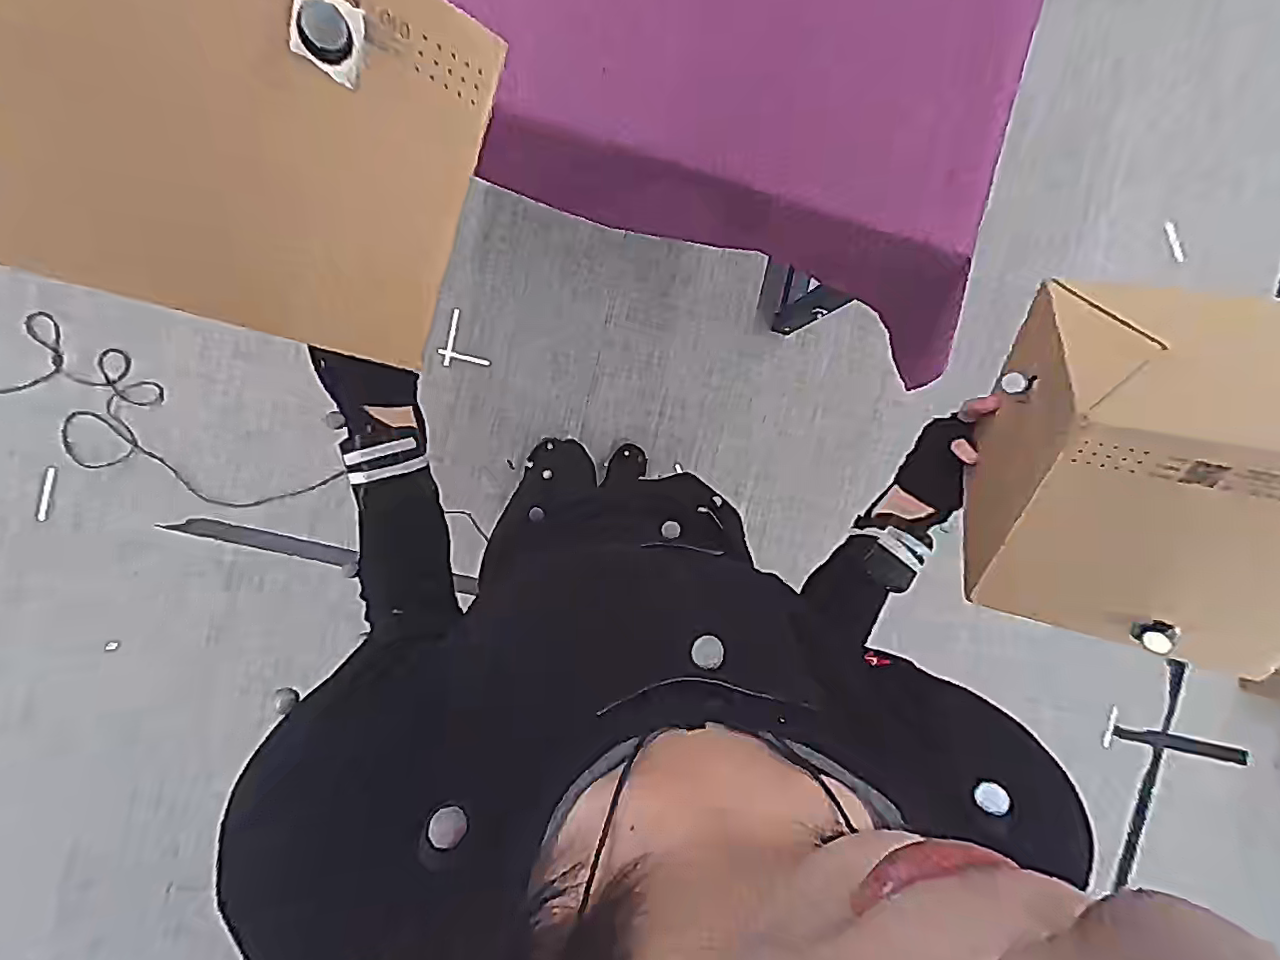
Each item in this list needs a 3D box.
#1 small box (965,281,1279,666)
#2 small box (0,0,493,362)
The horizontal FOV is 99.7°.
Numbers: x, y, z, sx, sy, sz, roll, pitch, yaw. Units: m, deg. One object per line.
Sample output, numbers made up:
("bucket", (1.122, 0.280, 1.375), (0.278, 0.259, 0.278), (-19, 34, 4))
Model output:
("small box", (0.330, -0.018, 0.351), (0.168, 0.179, 0.176), (13, 137, 19))
("small box", (-0.195, -0.186, 0.291), (0.168, 0.179, 0.176), (11, 109, -35))
